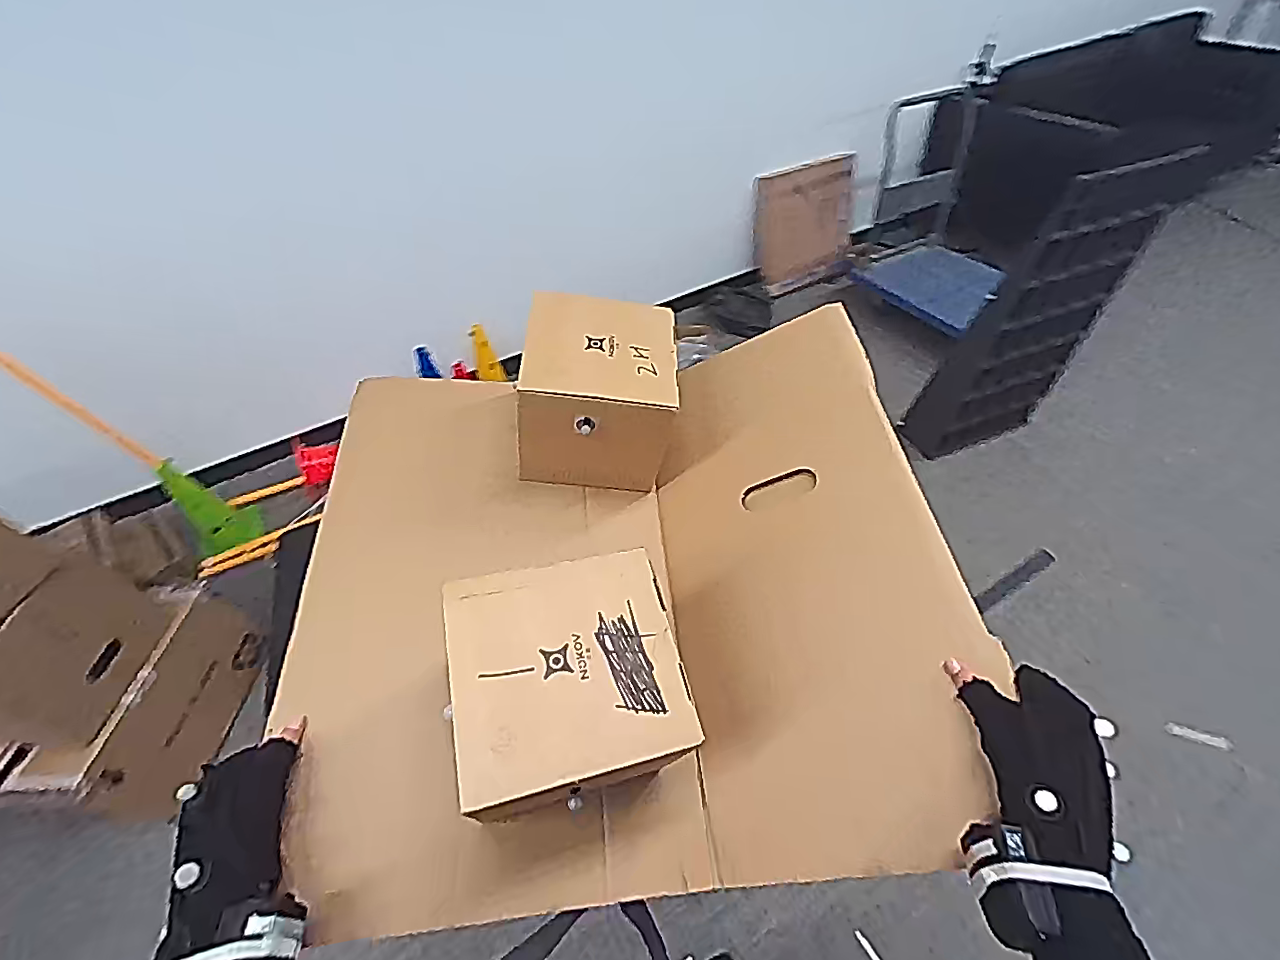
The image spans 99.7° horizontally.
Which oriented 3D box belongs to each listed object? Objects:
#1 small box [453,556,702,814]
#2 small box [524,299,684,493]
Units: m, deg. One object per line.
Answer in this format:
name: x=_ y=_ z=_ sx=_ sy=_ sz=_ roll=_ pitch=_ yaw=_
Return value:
small box: x=-0.066 y=0.188 z=0.490 sx=0.179 sy=0.176 sz=0.168 roll=-7 pitch=58 yaw=-15
small box: x=-0.047 y=-0.099 z=0.688 sx=0.179 sy=0.176 sz=0.168 roll=7 pitch=56 yaw=-8
